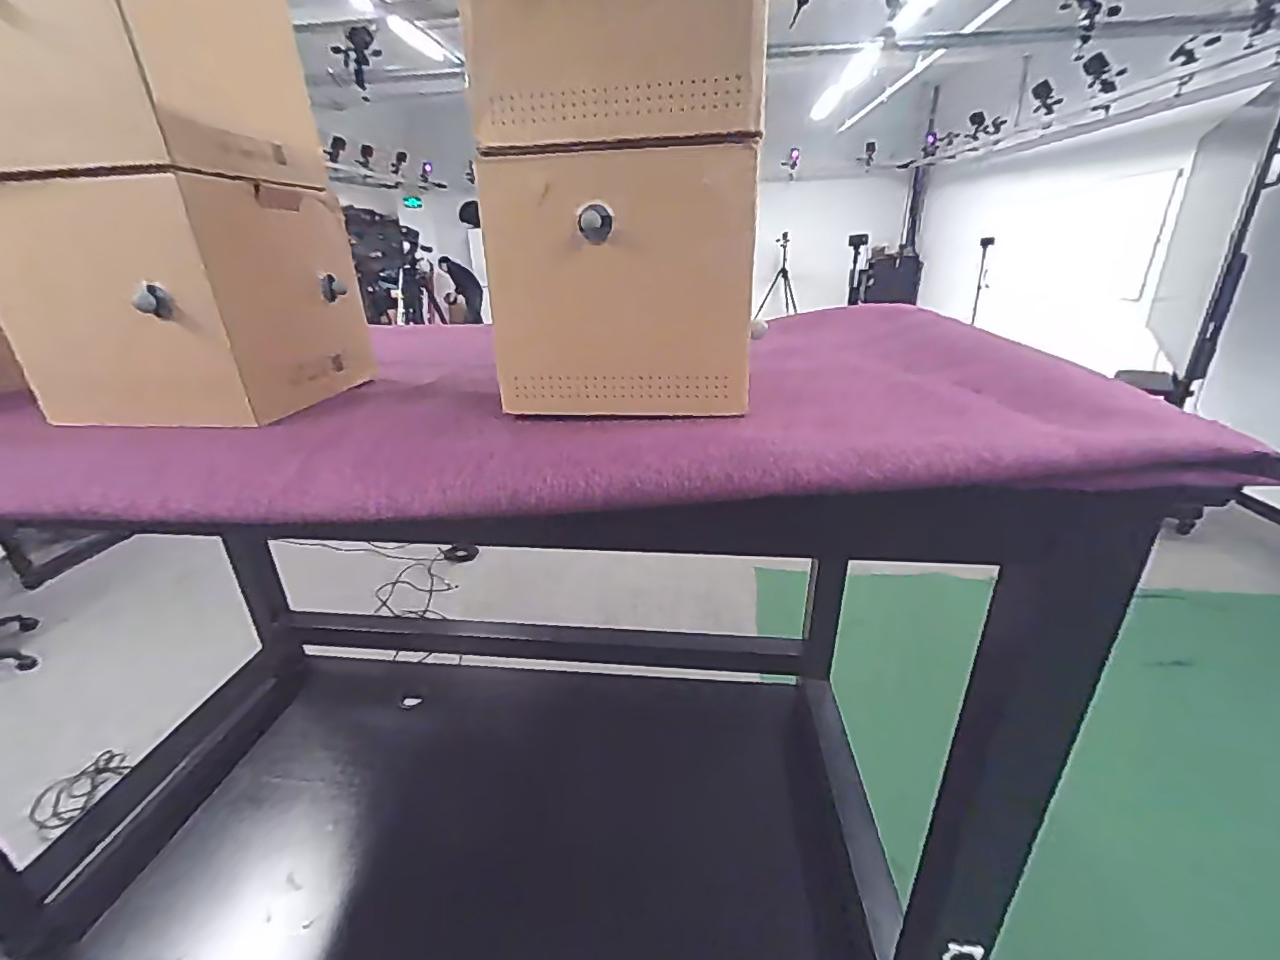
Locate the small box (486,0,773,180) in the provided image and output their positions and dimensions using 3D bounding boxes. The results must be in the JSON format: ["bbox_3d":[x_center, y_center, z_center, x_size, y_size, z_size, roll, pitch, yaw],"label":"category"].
[{"bbox_3d":[0.000,-0.305,0.379,0.179,0.176,0.168,1,21,8],"label":"small box"}]

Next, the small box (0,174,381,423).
[{"bbox_3d":[-0.348,-0.148,0.452,0.179,0.176,0.168,0,22,5],"label":"small box"}]

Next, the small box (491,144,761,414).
[{"bbox_3d":[0.001,-0.152,0.437,0.179,0.176,0.168,2,21,7],"label":"small box"}]
